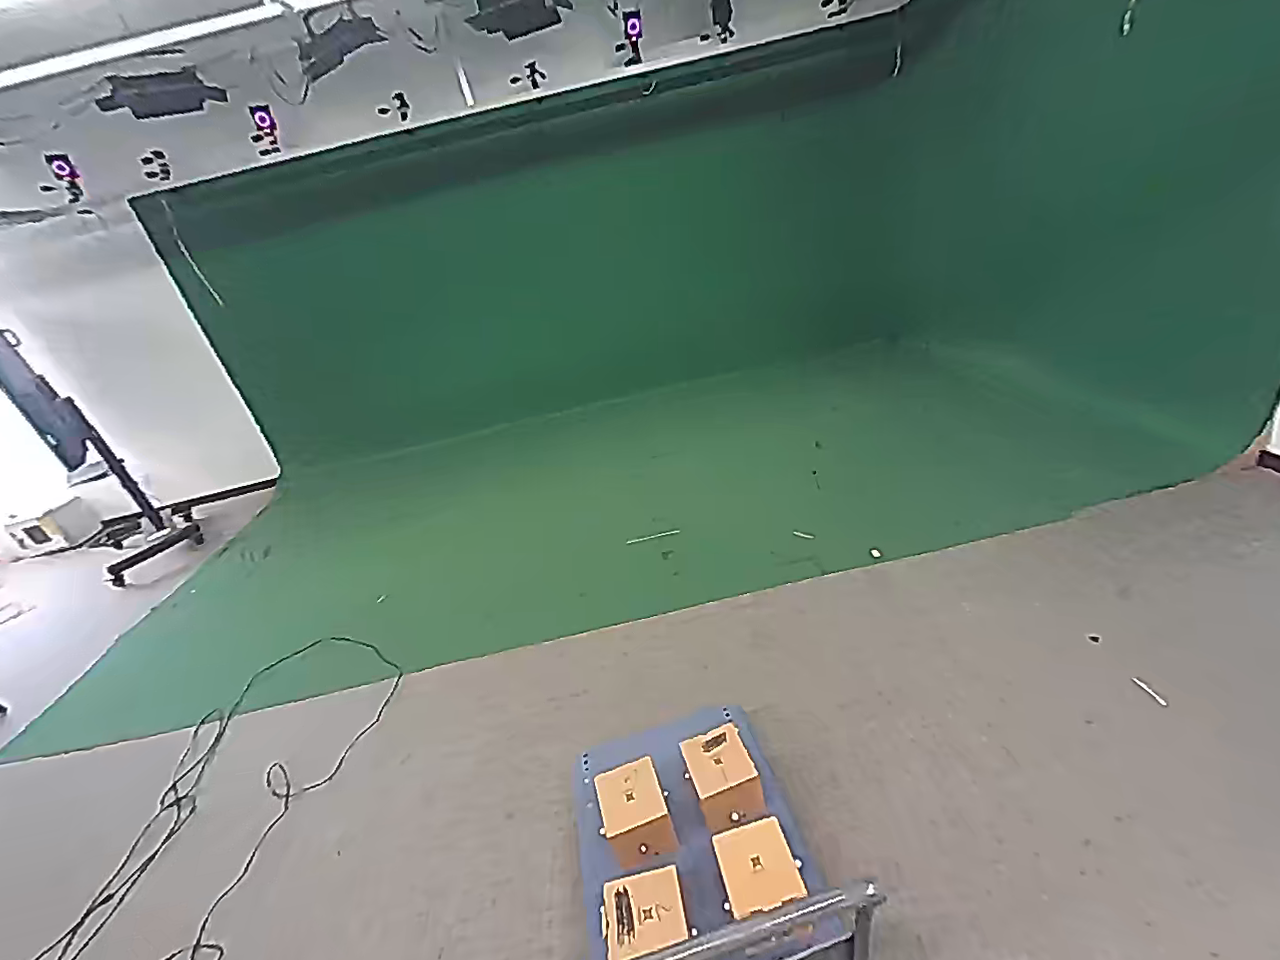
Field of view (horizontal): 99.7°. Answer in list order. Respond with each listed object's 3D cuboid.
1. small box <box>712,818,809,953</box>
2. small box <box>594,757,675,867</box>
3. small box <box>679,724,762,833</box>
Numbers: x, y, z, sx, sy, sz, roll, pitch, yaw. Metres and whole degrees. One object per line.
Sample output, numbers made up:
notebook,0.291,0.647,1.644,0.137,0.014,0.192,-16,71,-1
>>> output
small box,0.278,0.941,1.259,0.168,0.176,0.179,-15,28,-4
small box,-0.014,0.900,1.459,0.168,0.176,0.179,-17,28,-8
small box,0.222,0.824,1.496,0.168,0.176,0.179,-18,29,-8
